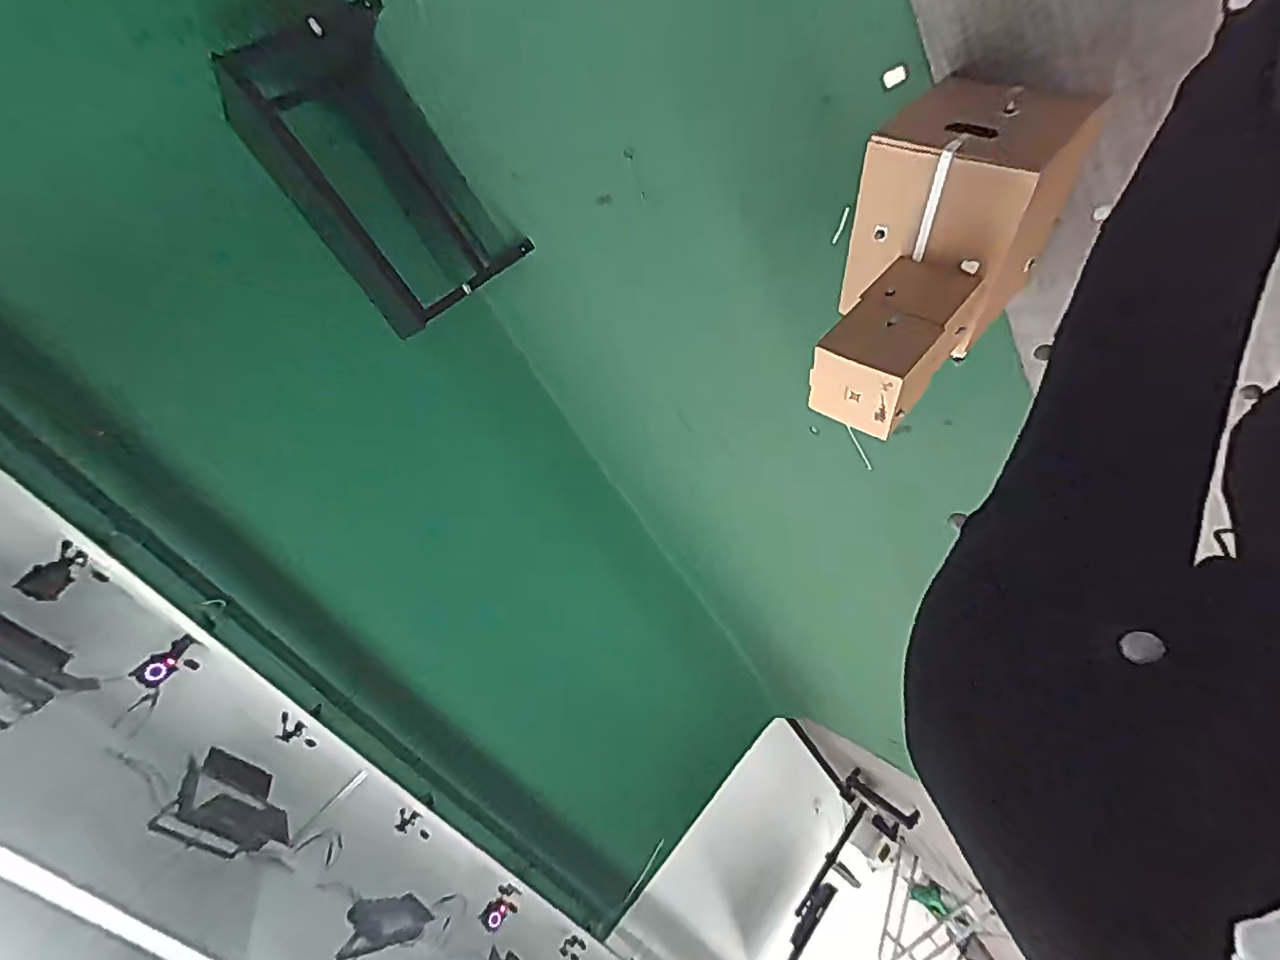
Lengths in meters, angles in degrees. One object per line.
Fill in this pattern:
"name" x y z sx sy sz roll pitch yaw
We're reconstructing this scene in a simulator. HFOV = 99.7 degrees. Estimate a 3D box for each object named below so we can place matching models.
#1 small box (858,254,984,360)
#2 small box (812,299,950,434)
"small box" 0.568 -0.342 1.125 0.179 0.176 0.168 32 156 29
"small box" 0.466 -0.229 1.063 0.179 0.176 0.168 33 156 30
